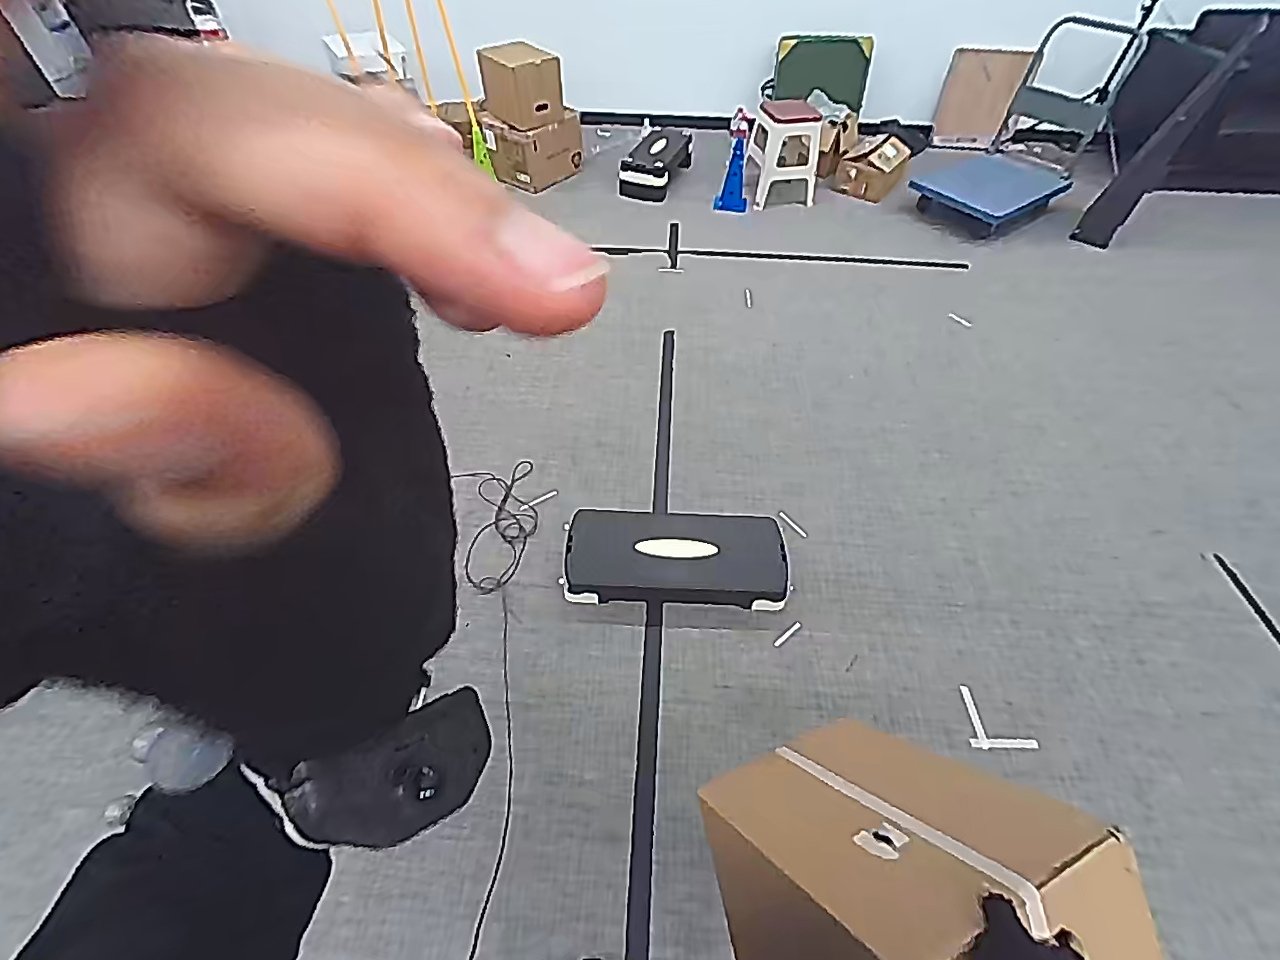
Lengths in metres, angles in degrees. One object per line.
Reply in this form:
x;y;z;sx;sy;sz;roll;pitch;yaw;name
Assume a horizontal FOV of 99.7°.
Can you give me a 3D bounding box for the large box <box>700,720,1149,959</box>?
0.326;0.564;0.690;0.320;0.408;0.320;-12;88;-22;large box
